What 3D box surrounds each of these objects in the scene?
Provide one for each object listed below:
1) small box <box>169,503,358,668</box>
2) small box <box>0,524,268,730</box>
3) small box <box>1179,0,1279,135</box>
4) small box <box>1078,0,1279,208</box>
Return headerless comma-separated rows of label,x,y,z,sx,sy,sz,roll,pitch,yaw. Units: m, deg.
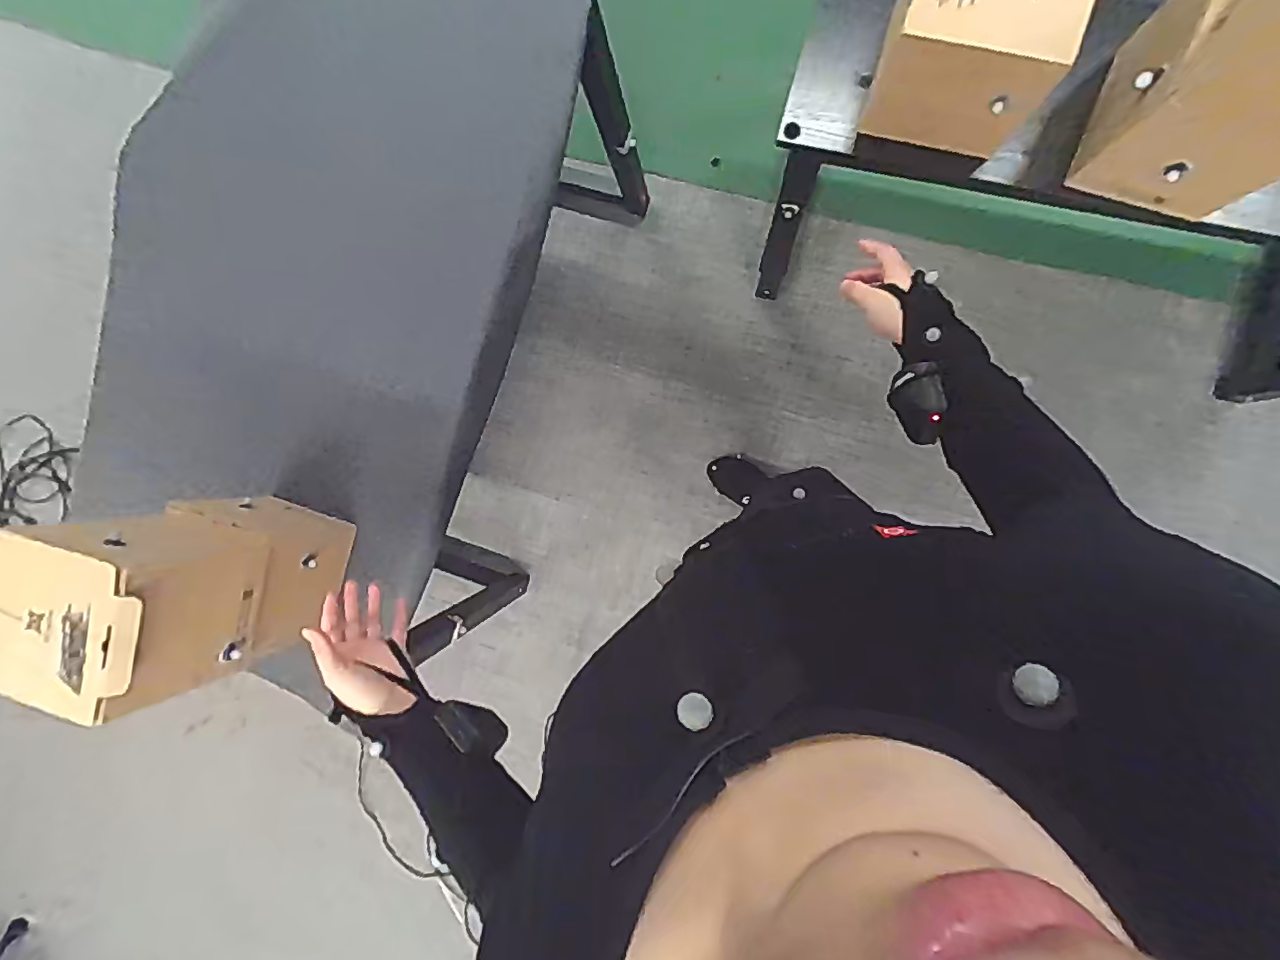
small box,-0.546,0.137,0.784,0.168,0.176,0.179,16,95,10
small box,-0.575,0.151,0.622,0.179,0.176,0.168,12,93,11
small box,0.615,-0.402,0.426,0.179,0.176,0.168,28,96,7
small box,0.632,-0.431,0.587,0.168,0.176,0.179,20,95,7
